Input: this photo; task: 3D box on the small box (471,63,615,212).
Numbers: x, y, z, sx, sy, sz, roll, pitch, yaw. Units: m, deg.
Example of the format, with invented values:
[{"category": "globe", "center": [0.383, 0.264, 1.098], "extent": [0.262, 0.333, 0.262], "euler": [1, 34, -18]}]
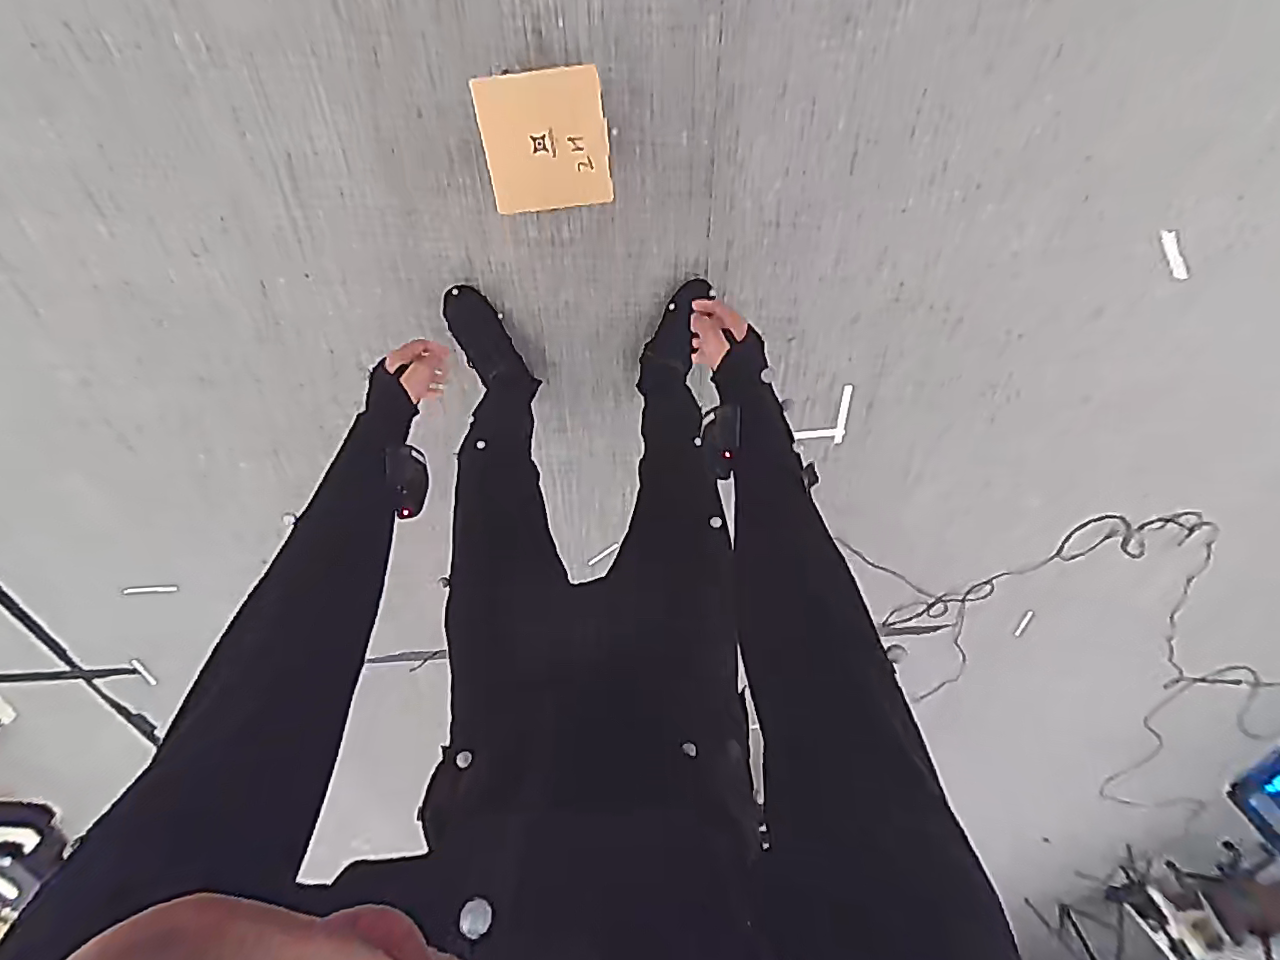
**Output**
[{"category": "small box", "center": [-0.132, -0.513, 0.813], "extent": [0.179, 0.176, 0.168], "euler": [-6, 127, 1]}]
